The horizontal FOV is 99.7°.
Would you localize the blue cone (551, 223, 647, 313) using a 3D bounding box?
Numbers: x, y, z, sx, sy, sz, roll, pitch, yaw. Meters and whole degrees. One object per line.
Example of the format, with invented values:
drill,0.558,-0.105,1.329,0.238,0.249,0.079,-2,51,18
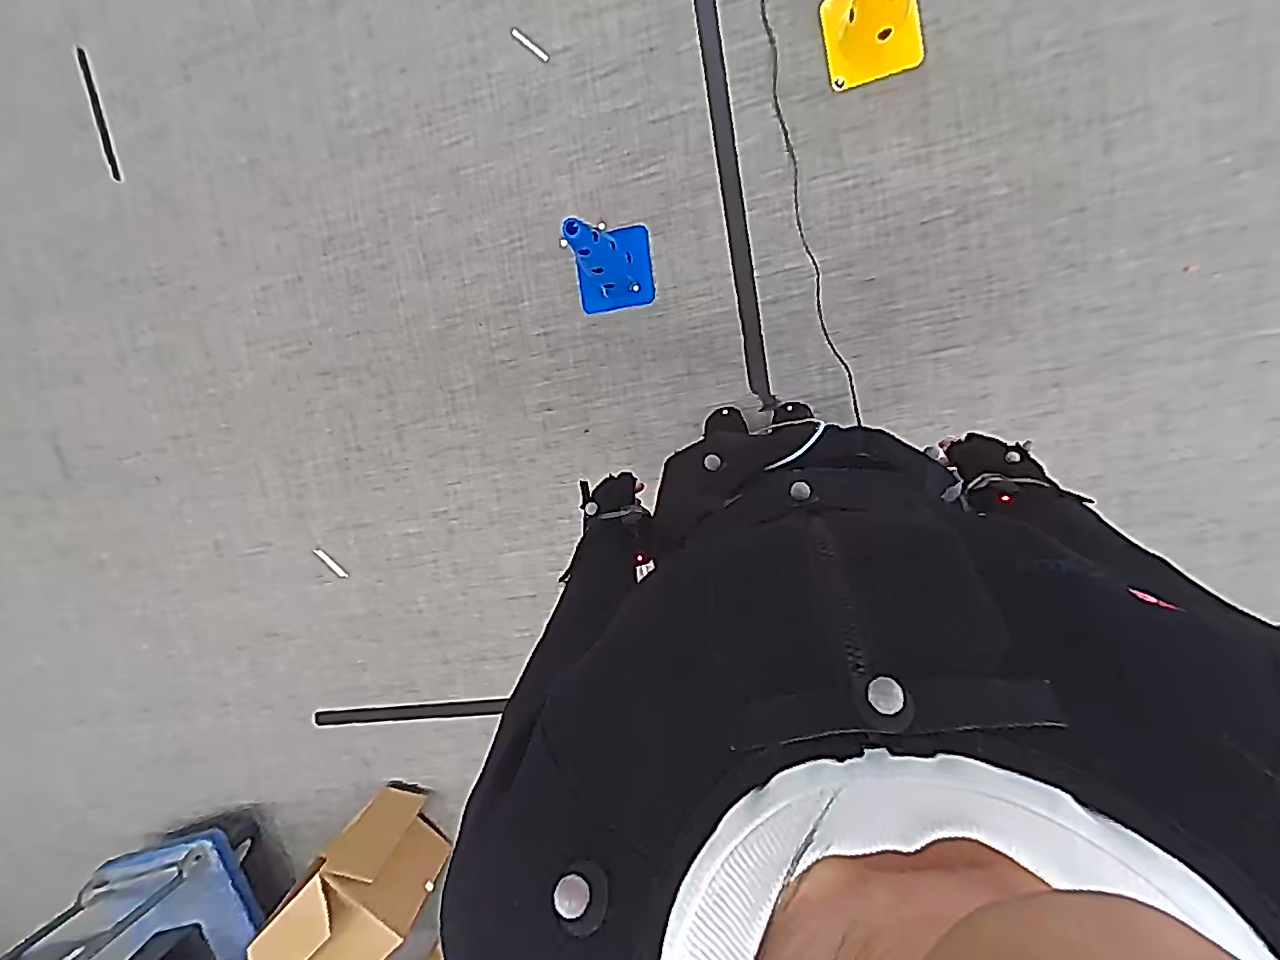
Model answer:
blue cone,-0.113,-0.524,1.258,0.192,0.380,0.193,-4,97,13
